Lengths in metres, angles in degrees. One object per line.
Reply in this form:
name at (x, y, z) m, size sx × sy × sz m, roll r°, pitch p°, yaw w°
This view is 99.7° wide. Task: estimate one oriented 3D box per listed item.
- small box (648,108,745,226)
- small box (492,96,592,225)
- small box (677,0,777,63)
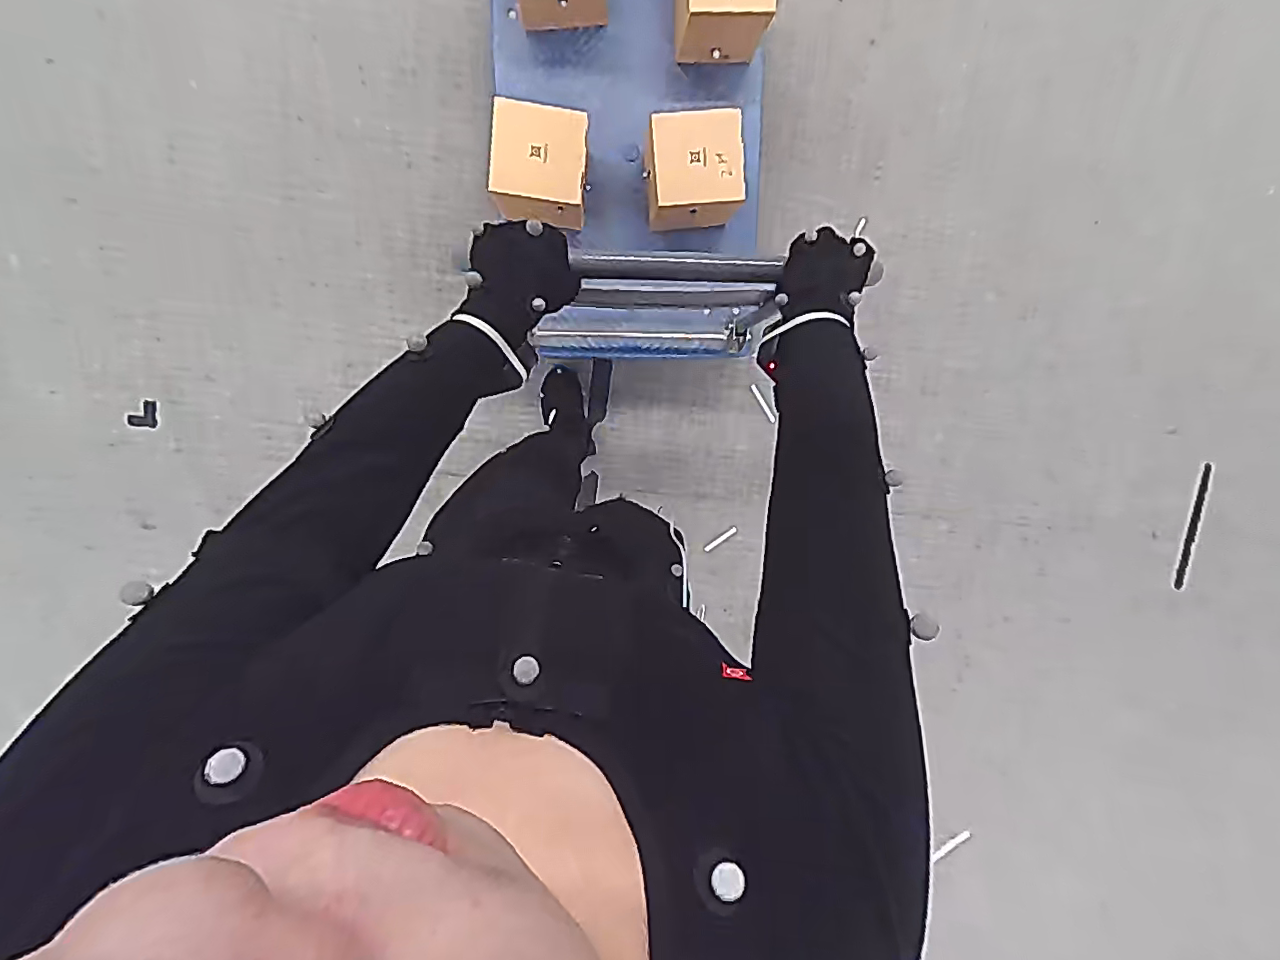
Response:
small box at (0.110, -0.639, 1.121) m, size 0.179 × 0.176 × 0.168 m, roll -6°, pitch 101°, yaw -4°
small box at (-0.194, -0.635, 1.097) m, size 0.179 × 0.176 × 0.168 m, roll 5°, pitch 99°, yaw -7°
small box at (0.165, -0.969, 1.066) m, size 0.168 × 0.176 × 0.179 m, roll -3°, pitch 101°, yaw -4°
